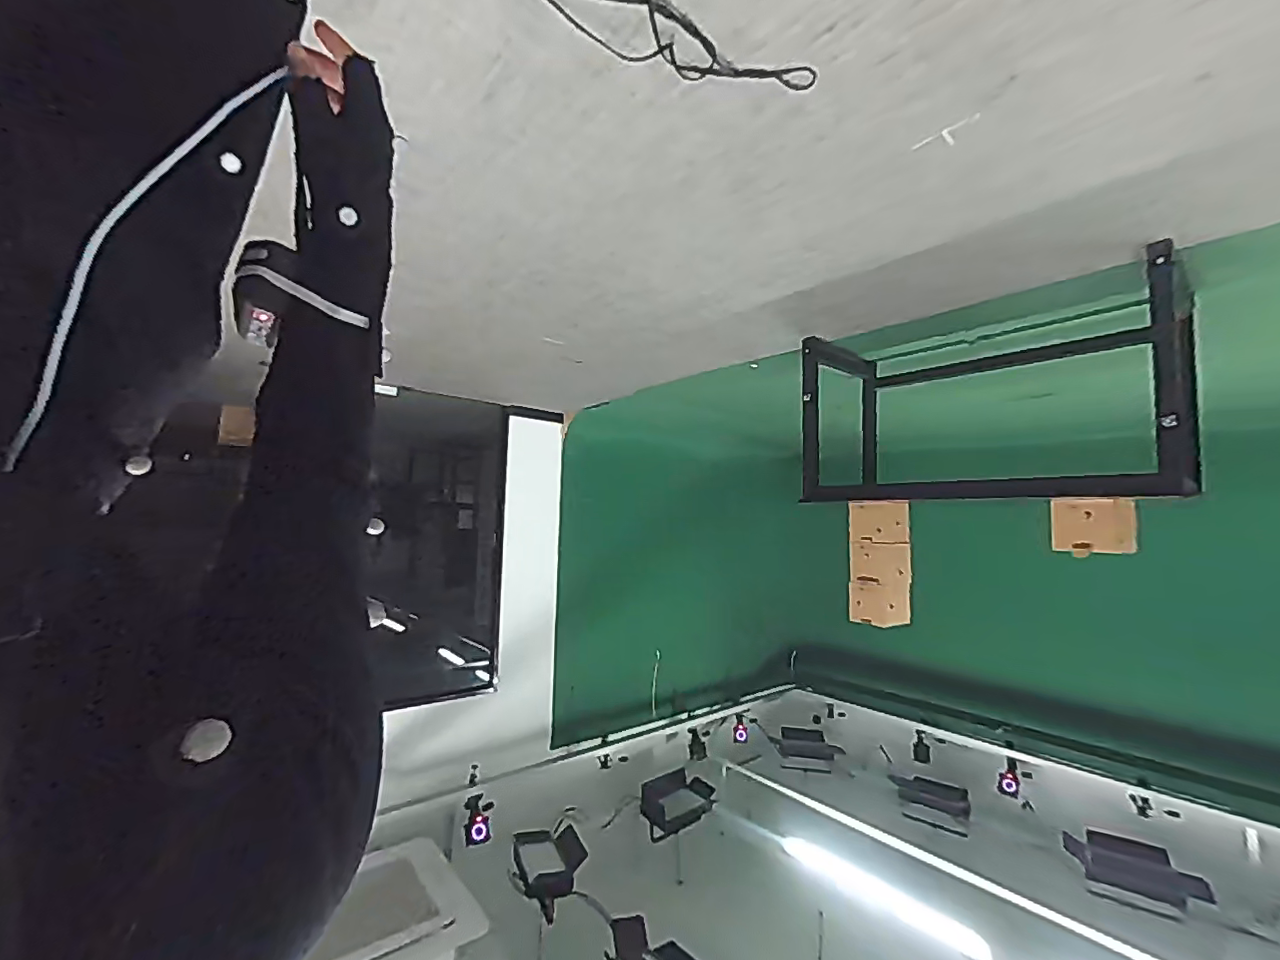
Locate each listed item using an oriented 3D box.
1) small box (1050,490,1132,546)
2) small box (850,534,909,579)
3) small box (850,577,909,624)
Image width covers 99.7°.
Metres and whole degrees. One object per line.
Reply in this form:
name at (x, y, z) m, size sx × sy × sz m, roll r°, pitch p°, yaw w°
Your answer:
small box at (1.455, 0.121, 1.743) m, size 0.179 × 0.176 × 0.168 m, roll 5°, pitch 175°, yaw -32°
small box at (1.001, 0.314, 2.257) m, size 0.179 × 0.176 × 0.168 m, roll 3°, pitch 175°, yaw -33°
small box at (0.995, 0.494, 2.250) m, size 0.179 × 0.176 × 0.168 m, roll 2°, pitch 176°, yaw -33°
